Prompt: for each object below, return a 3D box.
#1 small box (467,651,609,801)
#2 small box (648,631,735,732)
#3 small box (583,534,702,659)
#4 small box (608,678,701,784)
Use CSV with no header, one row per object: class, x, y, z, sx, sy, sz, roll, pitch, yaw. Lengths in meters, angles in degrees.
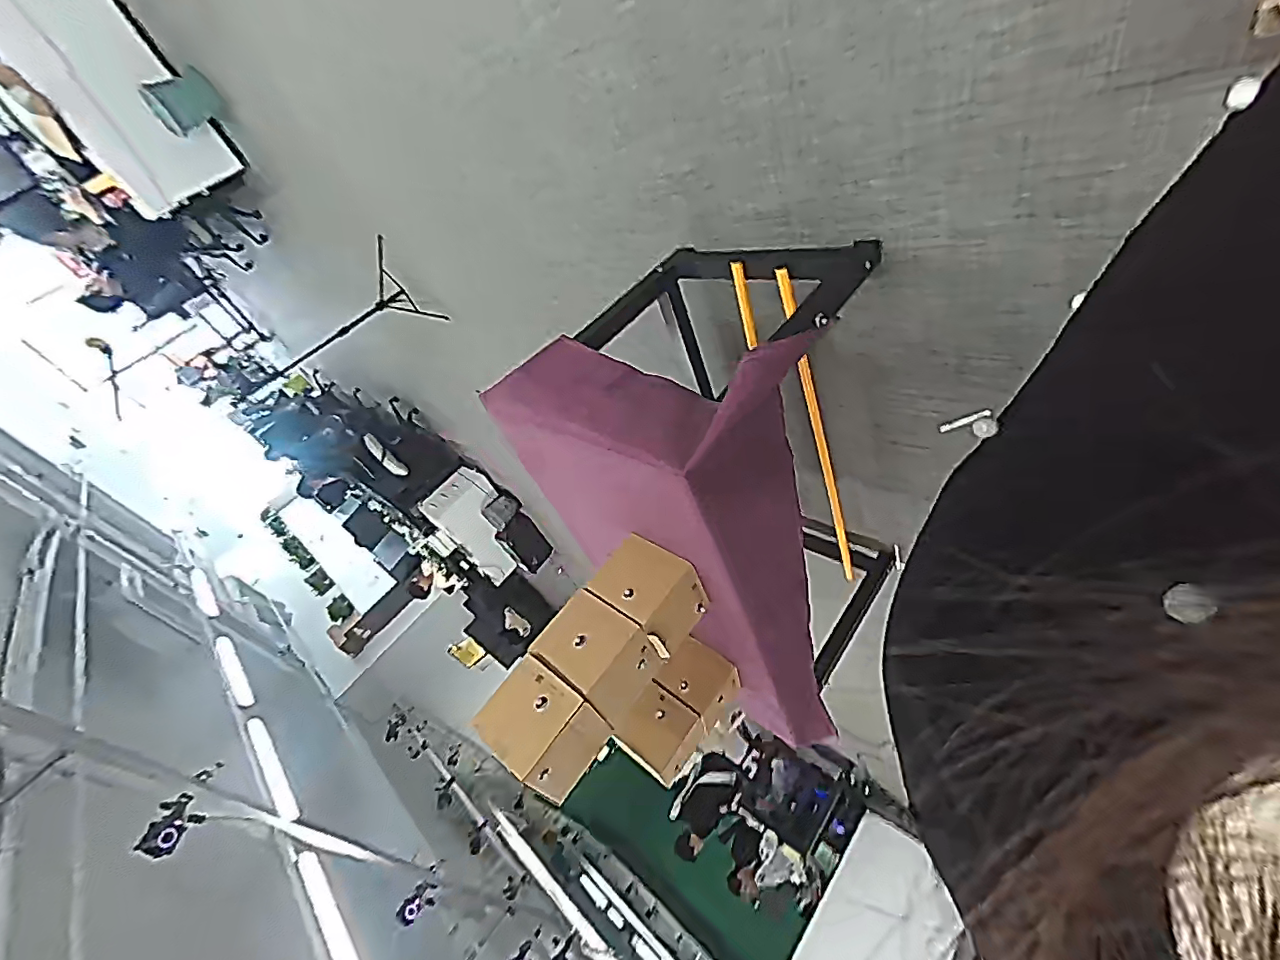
small box,-0.185,0.464,1.030,0.168,0.176,0.179,24,150,36
small box,0.150,0.549,1.488,0.179,0.176,0.168,28,152,31
small box,0.016,0.244,1.165,0.179,0.176,0.168,24,151,39
small box,0.046,0.656,1.420,0.168,0.176,0.179,27,152,30
